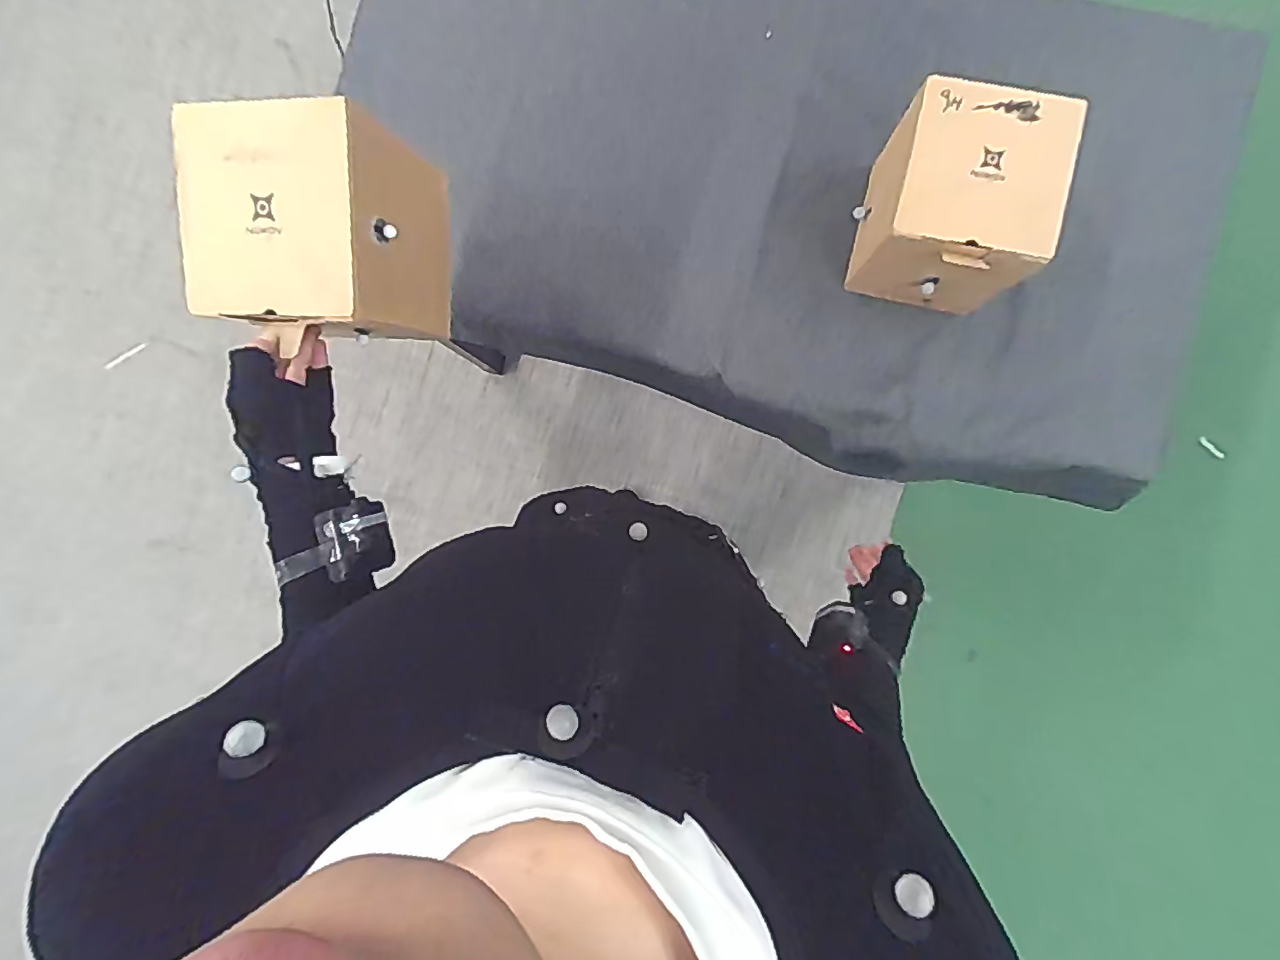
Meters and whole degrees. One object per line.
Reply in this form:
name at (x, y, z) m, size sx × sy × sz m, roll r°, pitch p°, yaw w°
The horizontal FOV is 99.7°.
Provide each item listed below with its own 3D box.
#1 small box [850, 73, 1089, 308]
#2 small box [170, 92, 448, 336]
small box at (0.369, -0.324, 0.643) m, size 0.168 × 0.176 × 0.179 m, roll 14°, pitch 91°, yaw 4°
small box at (-0.303, -0.239, 0.531) m, size 0.168 × 0.176 × 0.179 m, roll 3°, pitch 98°, yaw 8°
